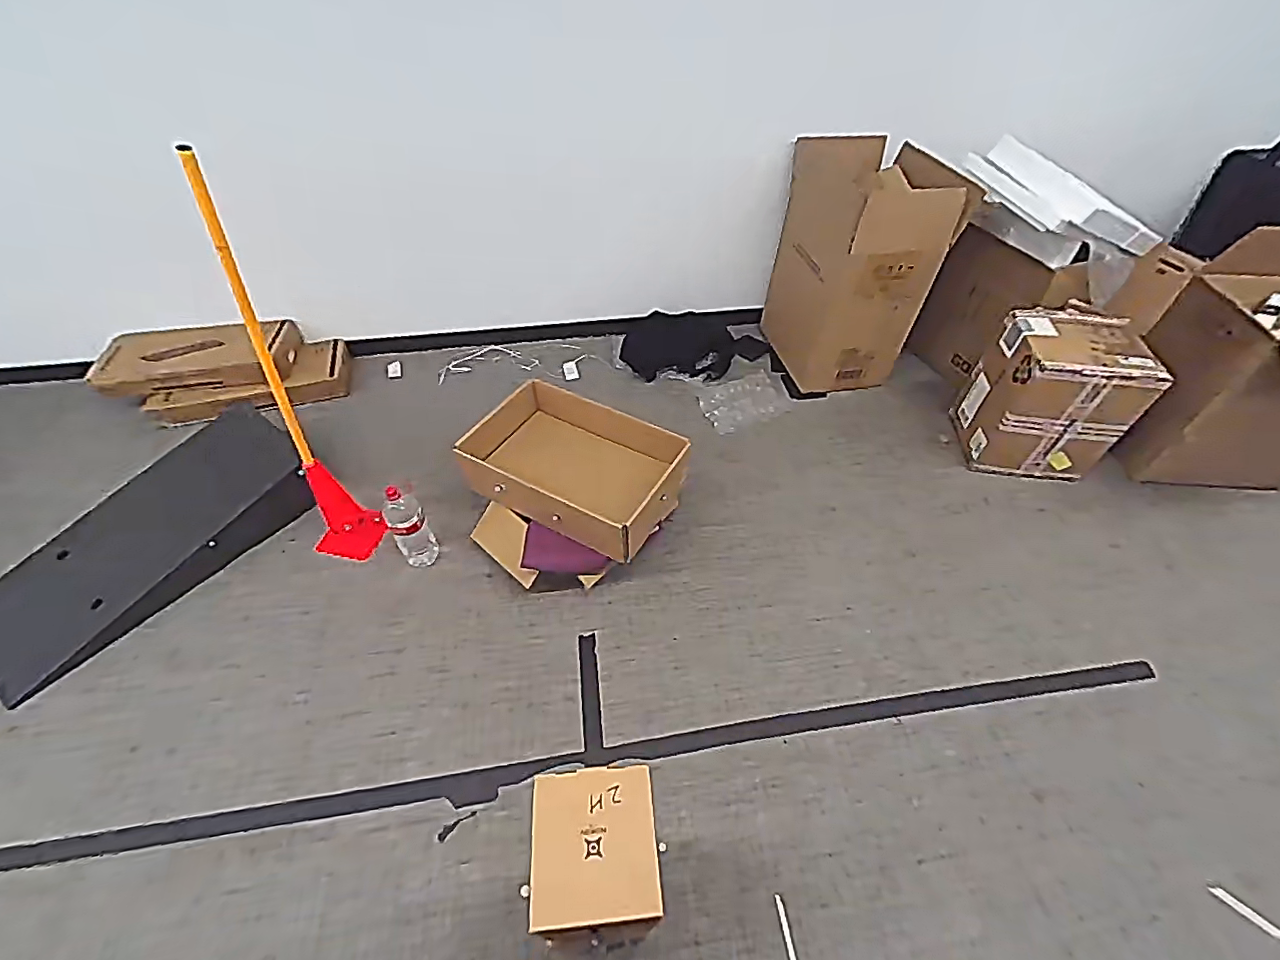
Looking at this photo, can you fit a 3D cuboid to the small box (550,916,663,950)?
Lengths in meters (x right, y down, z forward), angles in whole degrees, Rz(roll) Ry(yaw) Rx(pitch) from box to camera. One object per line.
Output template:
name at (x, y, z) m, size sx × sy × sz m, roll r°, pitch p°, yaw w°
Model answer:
small box at (-0.062, 0.645, 0.892) m, size 0.168 × 0.176 × 0.179 m, roll -7°, pitch 48°, yaw -7°

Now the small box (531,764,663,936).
small box at (-0.058, 0.531, 0.773) m, size 0.168 × 0.176 × 0.179 m, roll -4°, pitch 47°, yaw -4°
